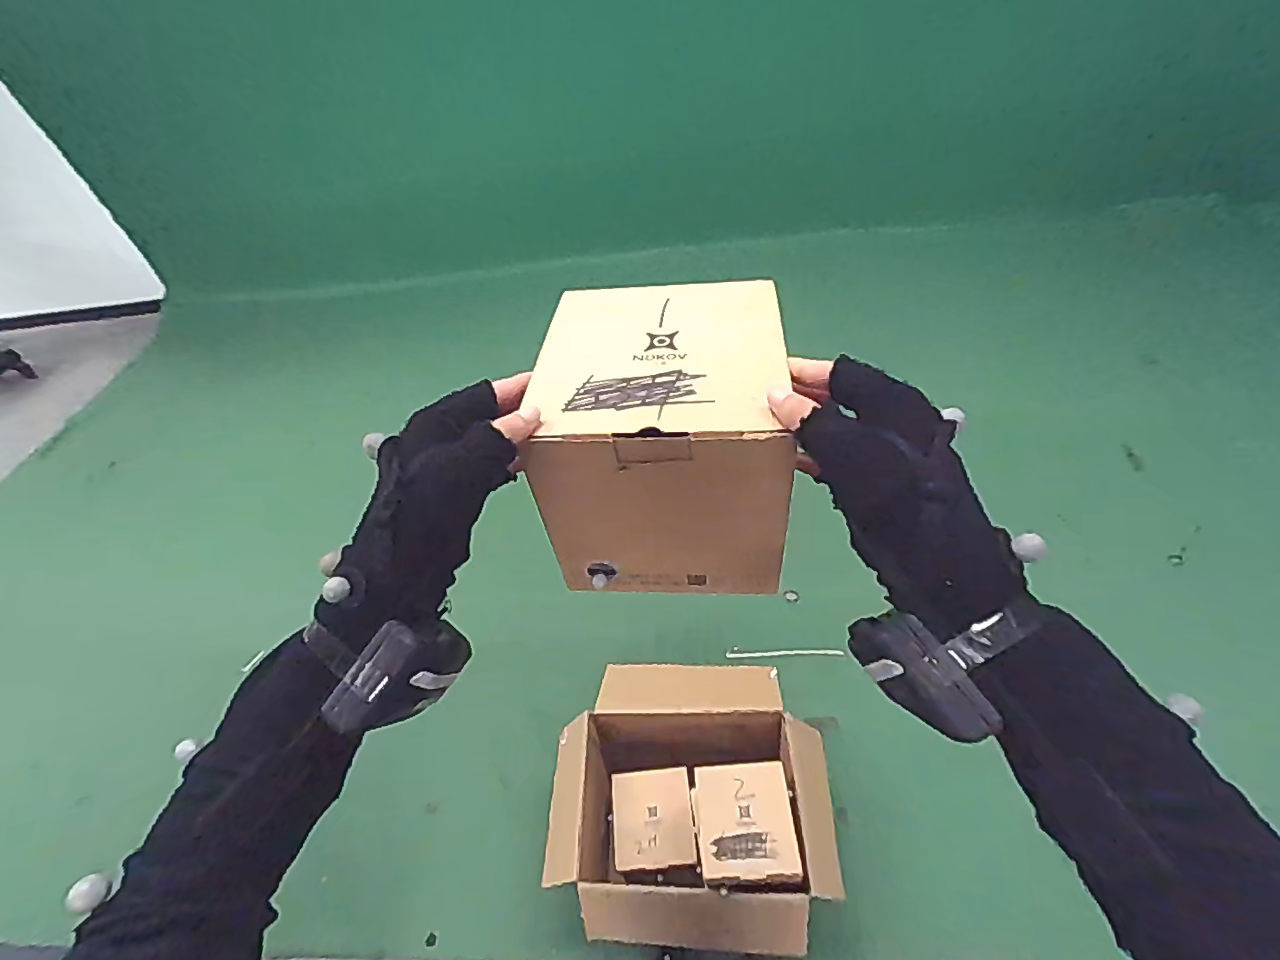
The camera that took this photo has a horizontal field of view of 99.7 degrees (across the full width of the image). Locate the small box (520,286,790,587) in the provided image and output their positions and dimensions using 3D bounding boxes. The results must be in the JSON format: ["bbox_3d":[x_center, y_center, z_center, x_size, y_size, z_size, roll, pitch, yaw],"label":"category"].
[{"bbox_3d":[0.023,-0.030,0.428,0.168,0.176,0.179,0,46,8],"label":"small box"}]
